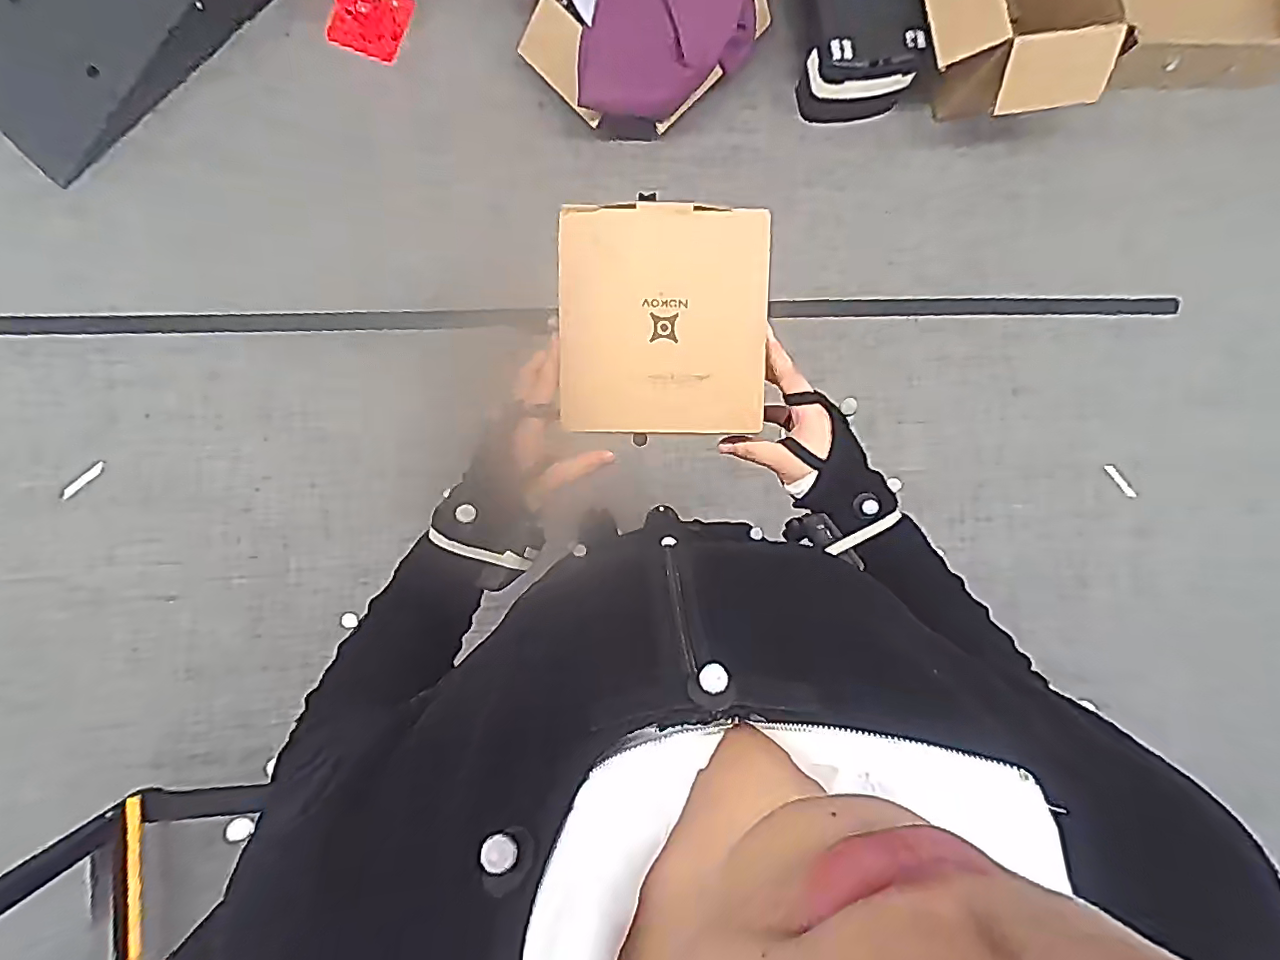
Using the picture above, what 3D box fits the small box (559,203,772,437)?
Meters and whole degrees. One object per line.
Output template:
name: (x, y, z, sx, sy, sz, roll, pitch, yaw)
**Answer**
small box: (0.016, -0.132, 0.499, 0.168, 0.176, 0.179, 0, 98, -1)
